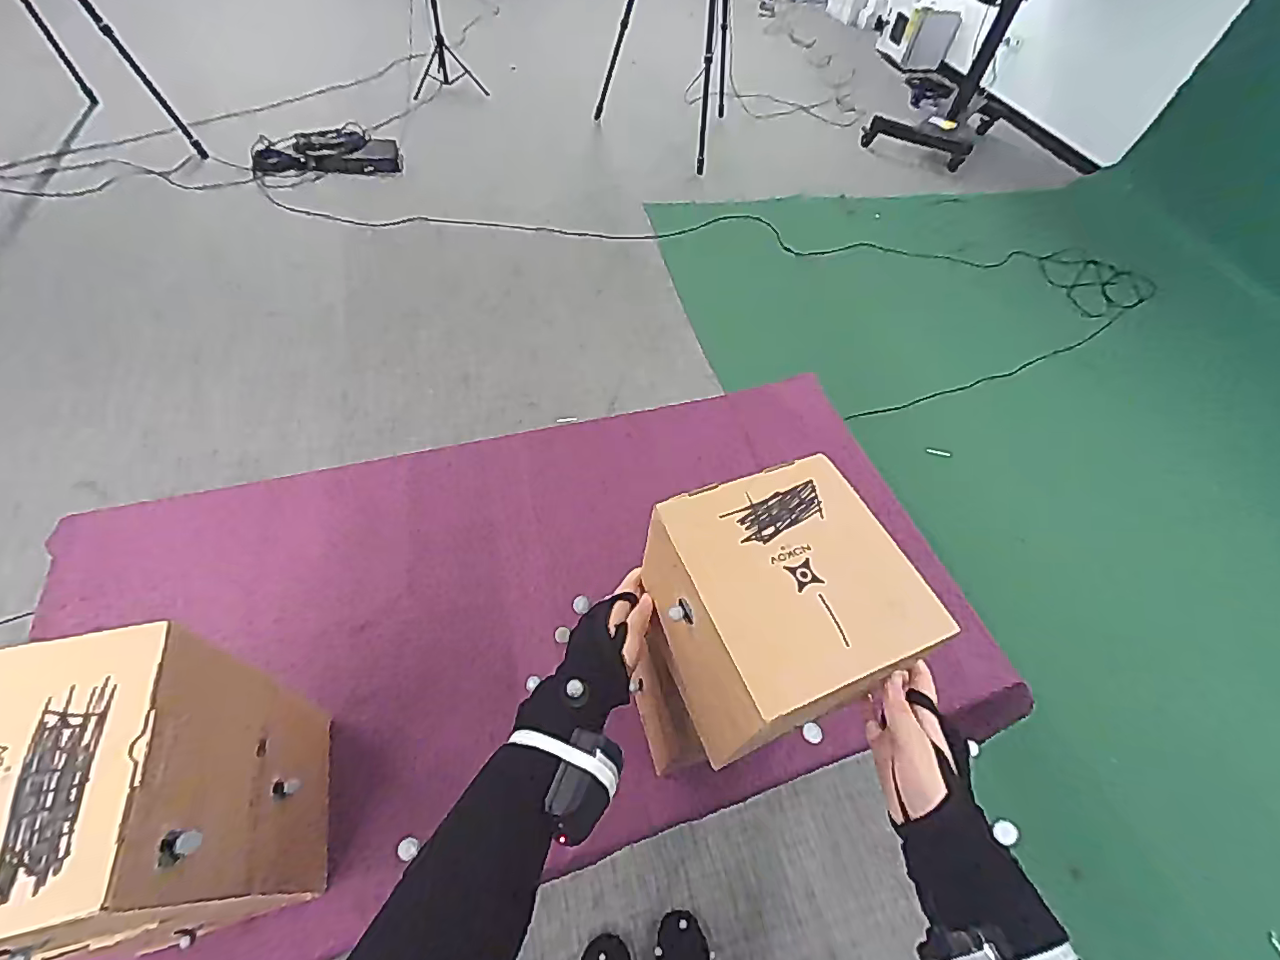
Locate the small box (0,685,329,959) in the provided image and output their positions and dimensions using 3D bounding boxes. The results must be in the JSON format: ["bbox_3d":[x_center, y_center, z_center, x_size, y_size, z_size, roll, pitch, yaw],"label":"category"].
[{"bbox_3d":[-0.410,0.321,0.507,0.168,0.176,0.179,-11,57,-15],"label":"small box"}]

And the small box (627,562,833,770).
[{"bbox_3d":[0.086,0.222,0.635,0.179,0.176,0.168,-11,57,-14],"label":"small box"}]
